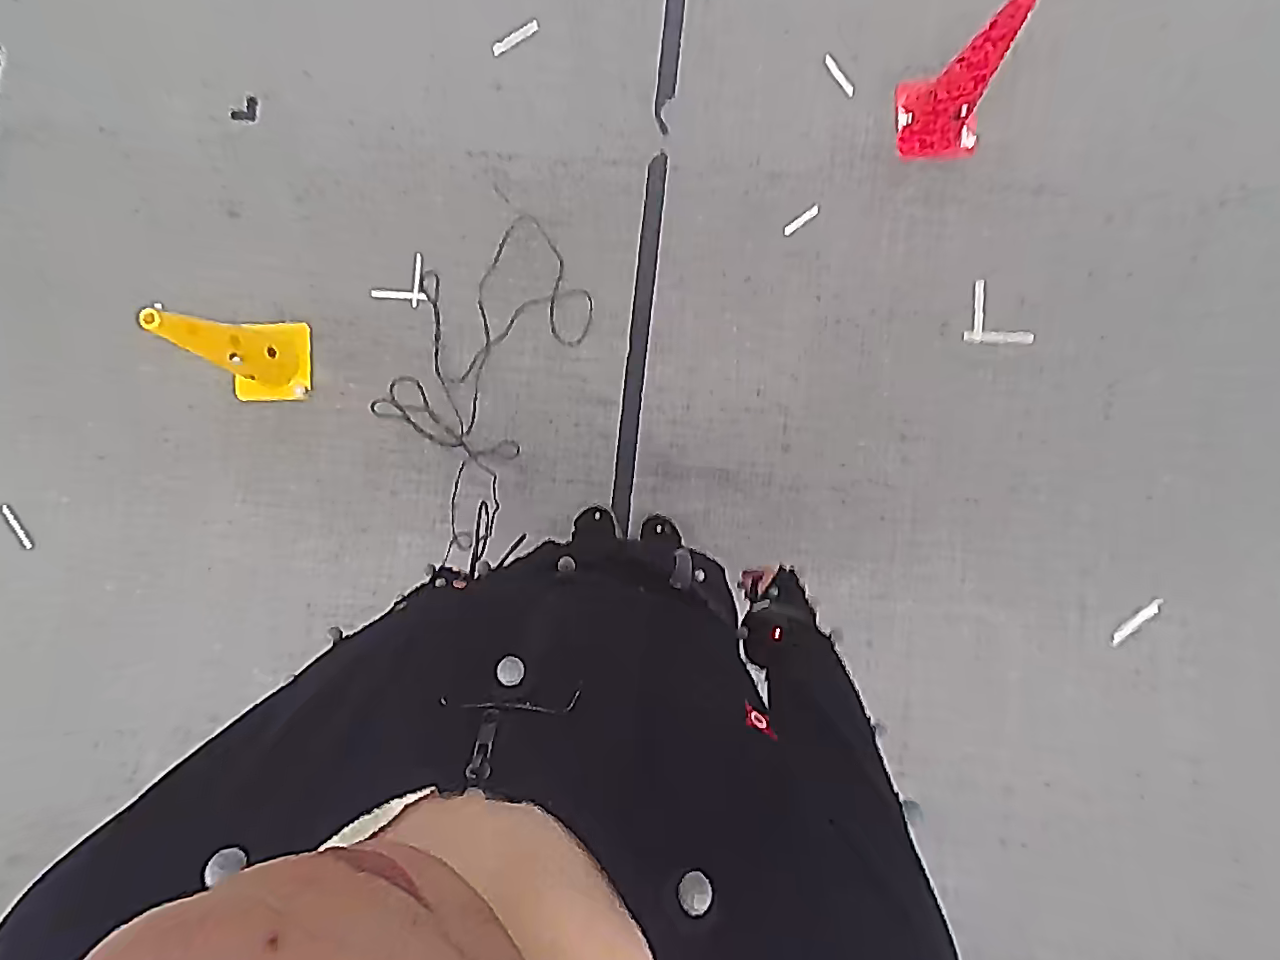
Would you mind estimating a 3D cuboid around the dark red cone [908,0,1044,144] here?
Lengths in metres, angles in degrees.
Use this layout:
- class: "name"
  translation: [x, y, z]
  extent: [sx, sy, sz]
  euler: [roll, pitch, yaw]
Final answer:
- class: "dark red cone"
  translation: [0.758, -0.937, 1.171]
  extent: [0.201, 0.394, 0.202]
  euler: [-2, 88, 3]
